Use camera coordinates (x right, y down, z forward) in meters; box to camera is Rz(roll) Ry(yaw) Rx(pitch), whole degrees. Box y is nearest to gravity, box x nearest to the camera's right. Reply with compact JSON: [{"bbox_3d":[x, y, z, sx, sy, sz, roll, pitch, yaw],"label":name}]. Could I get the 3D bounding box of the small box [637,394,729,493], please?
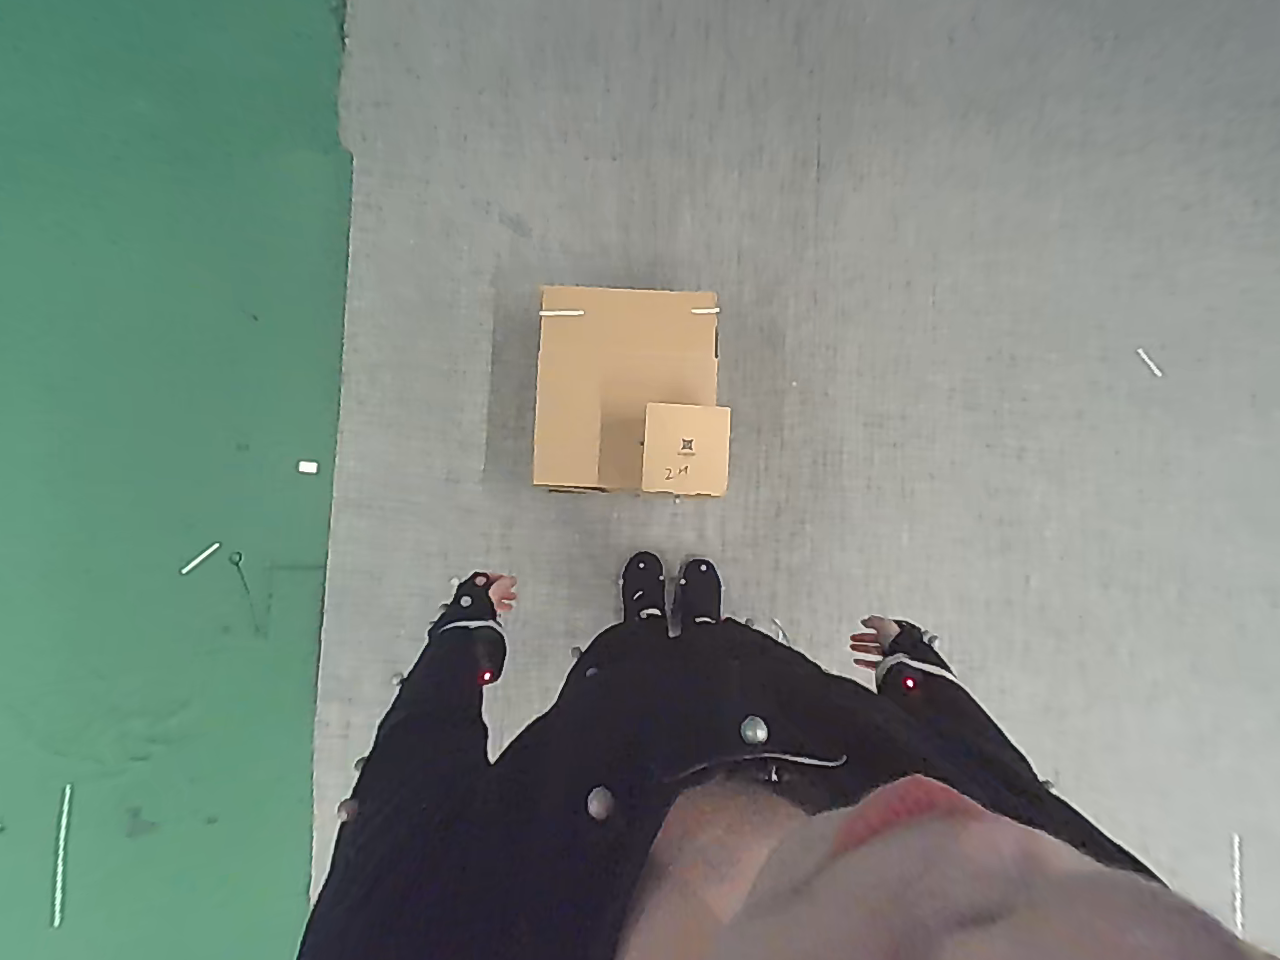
[{"bbox_3d":[0.082,-0.068,1.116,0.168,0.176,0.179,3,86,-1],"label":"small box"}]
